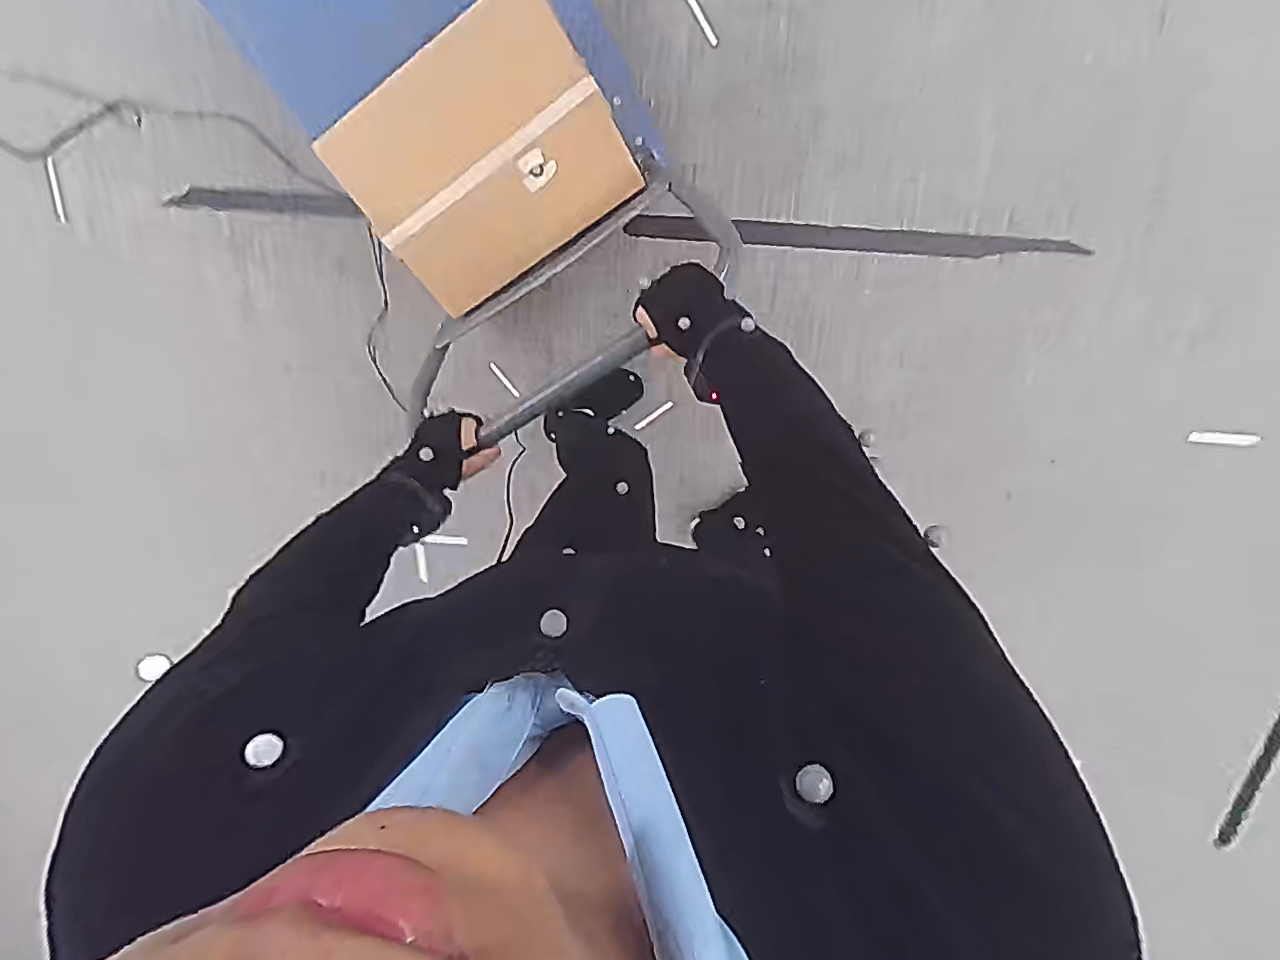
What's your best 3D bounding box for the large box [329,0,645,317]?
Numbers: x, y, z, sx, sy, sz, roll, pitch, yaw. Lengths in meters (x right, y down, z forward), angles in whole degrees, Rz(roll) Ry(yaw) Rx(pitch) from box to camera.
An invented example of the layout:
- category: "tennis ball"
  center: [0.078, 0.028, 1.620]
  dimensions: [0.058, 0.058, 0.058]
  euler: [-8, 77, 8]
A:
- category: "large box"
  center: [-0.250, -0.569, 0.979]
  dimensions: [0.408, 0.320, 0.320]
  euler: [-31, 121, 12]
